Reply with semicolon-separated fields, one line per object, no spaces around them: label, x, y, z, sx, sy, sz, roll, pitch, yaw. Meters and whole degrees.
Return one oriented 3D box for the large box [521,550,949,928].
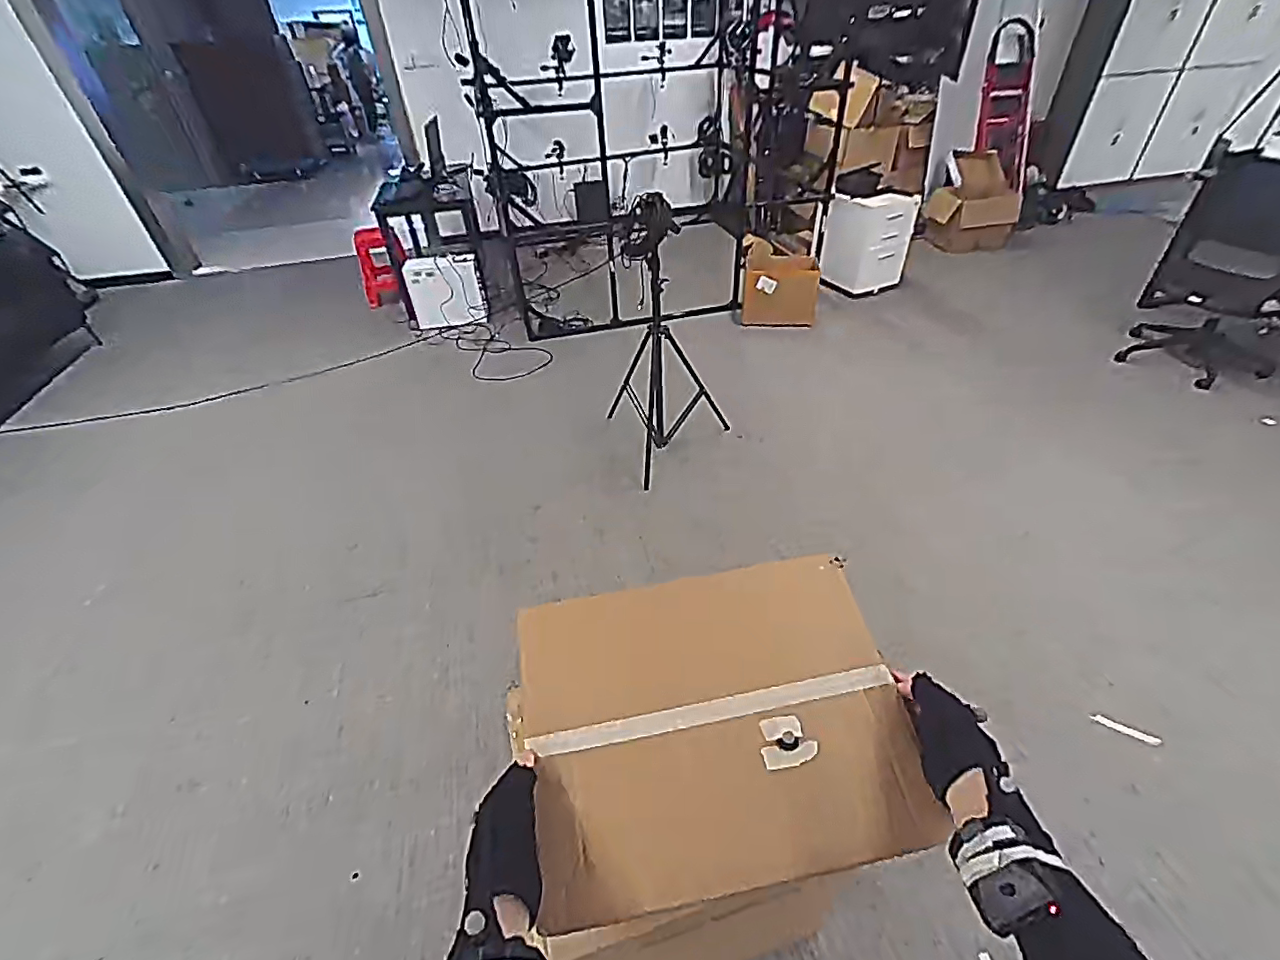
large box;0.080;0.333;0.708;0.408;0.320;0.320;-10;55;-6
